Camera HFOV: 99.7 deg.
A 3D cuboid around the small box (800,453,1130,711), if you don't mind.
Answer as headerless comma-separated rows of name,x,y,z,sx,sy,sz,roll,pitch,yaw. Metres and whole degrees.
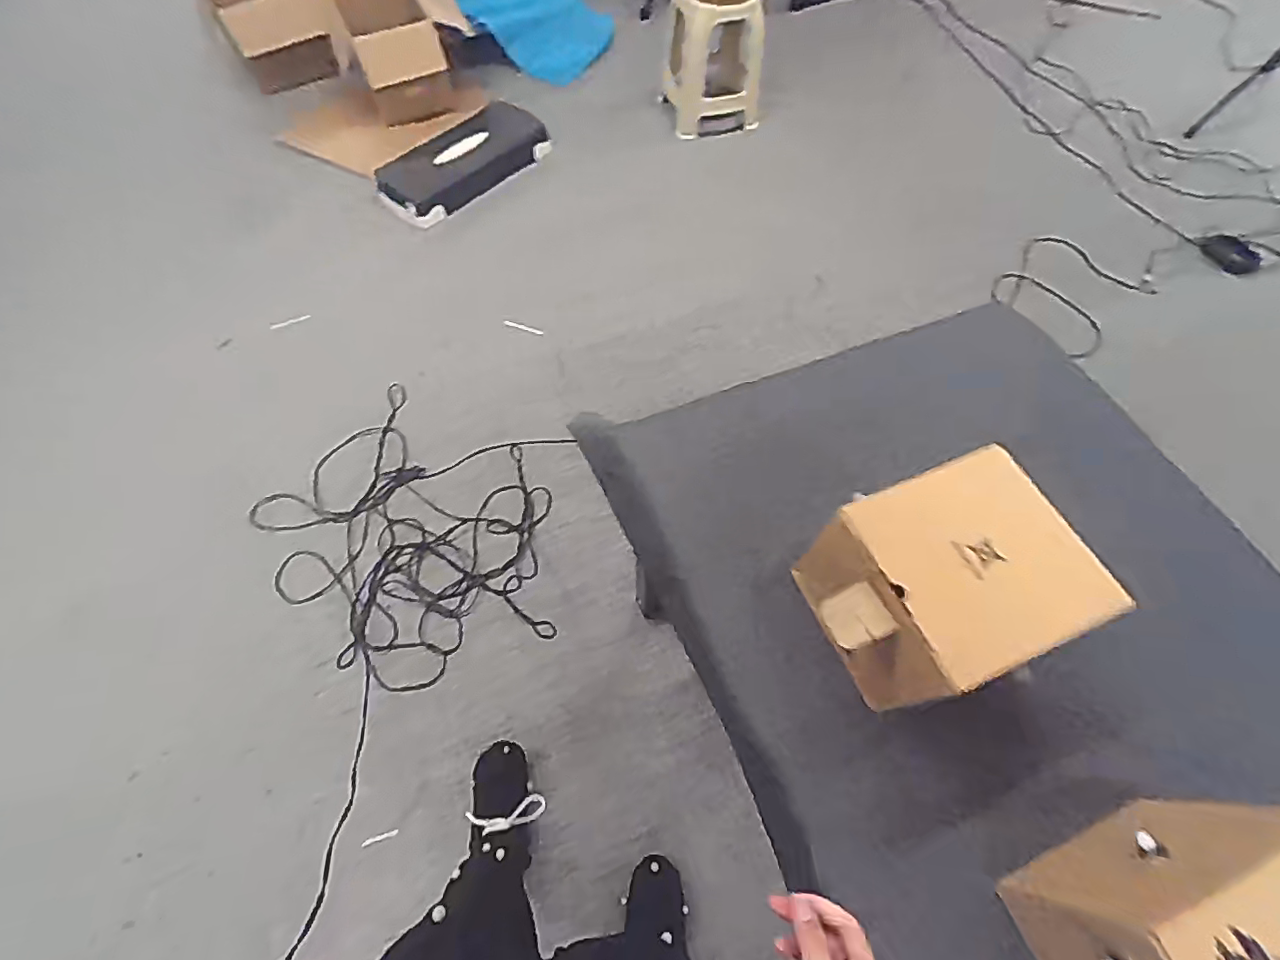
small box,0.285,0.105,0.522,0.179,0.176,0.168,-21,65,-11
